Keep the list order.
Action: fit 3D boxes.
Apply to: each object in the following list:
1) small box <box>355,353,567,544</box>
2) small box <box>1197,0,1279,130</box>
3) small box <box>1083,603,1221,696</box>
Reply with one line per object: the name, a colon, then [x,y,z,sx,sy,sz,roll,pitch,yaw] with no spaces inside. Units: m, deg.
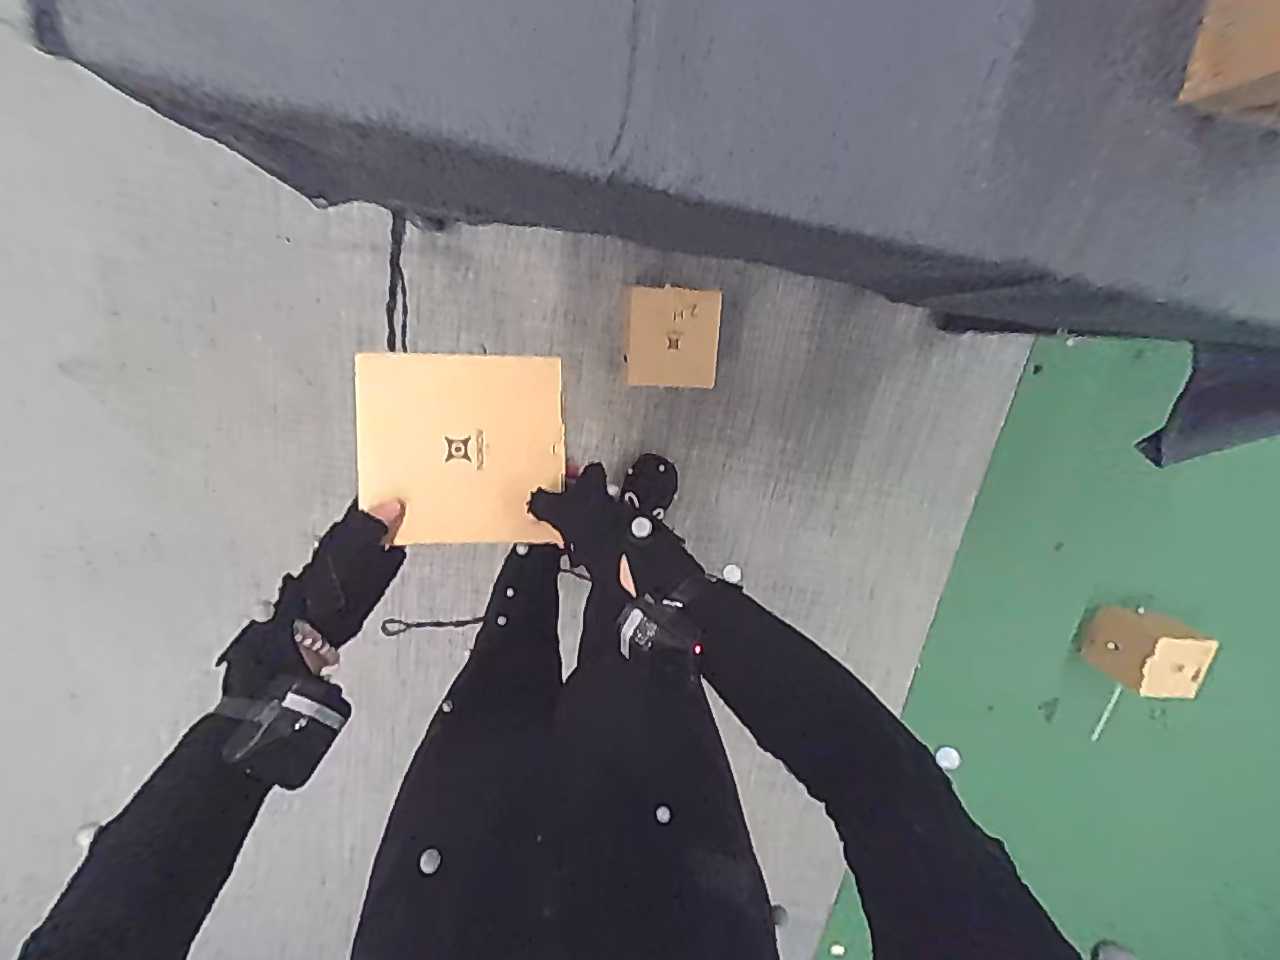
small box: [-0.163,-0.029,0.546,0.179,0.176,0.168,-1,93,-9]
small box: [0.507,-0.333,0.319,0.168,0.176,0.179,5,106,-7]
small box: [1.325,0.438,1.416,0.179,0.176,0.168,7,106,-8]
